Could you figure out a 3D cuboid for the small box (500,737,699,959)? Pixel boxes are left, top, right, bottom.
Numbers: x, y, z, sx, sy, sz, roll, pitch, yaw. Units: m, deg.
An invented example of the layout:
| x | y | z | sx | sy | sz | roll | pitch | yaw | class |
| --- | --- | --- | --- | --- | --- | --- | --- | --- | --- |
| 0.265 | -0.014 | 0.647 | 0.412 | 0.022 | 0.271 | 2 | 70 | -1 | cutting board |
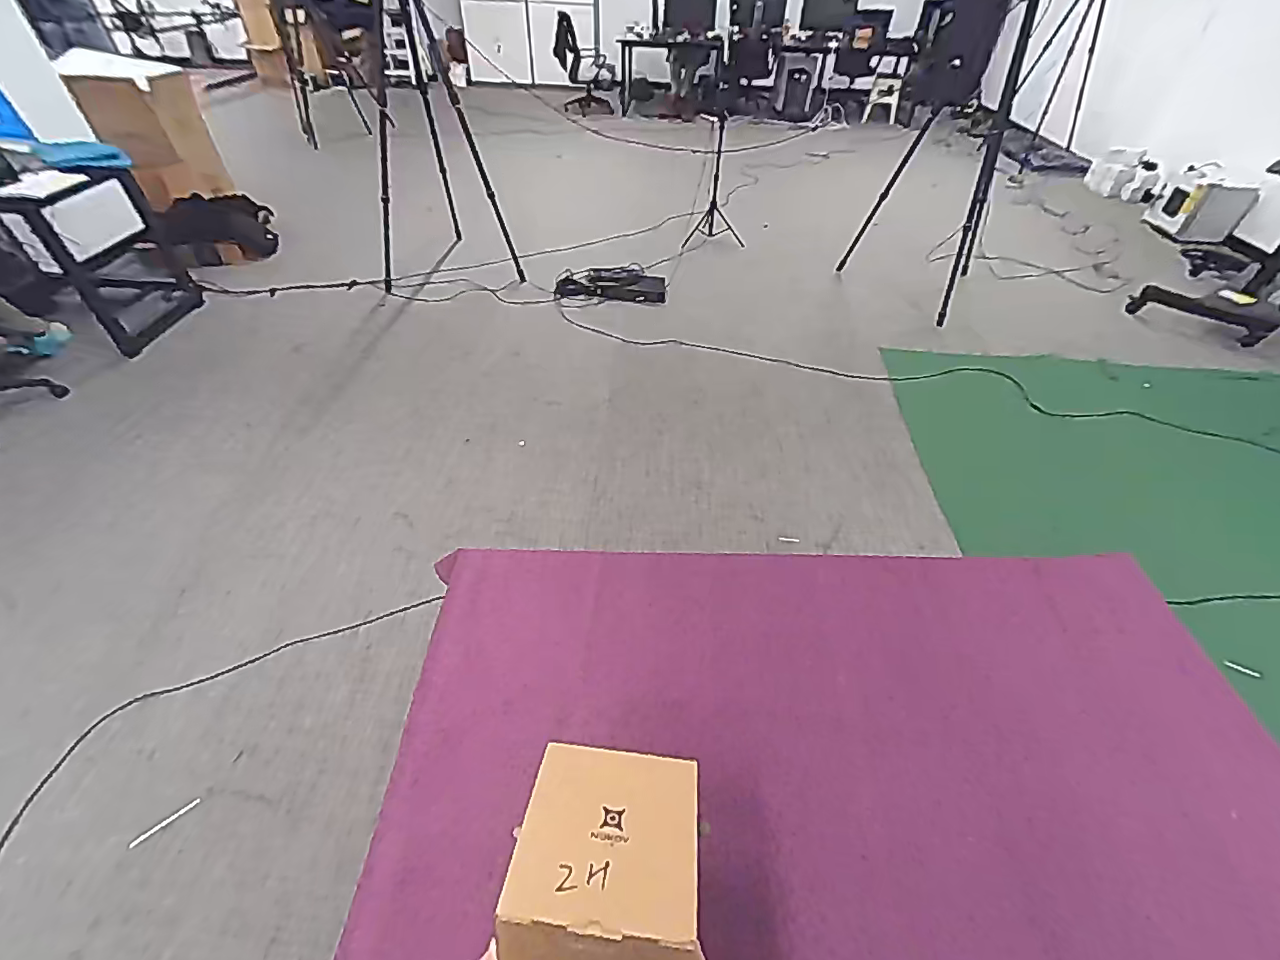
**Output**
| x | y | z | sx | sy | sz | roll | pitch | yaw | class |
| --- | --- | --- | --- | --- | --- | --- | --- | --- | --- |
| -0.031 | 0.398 | 0.541 | 0.168 | 0.176 | 0.179 | 5 | 23 | 4 | small box |
